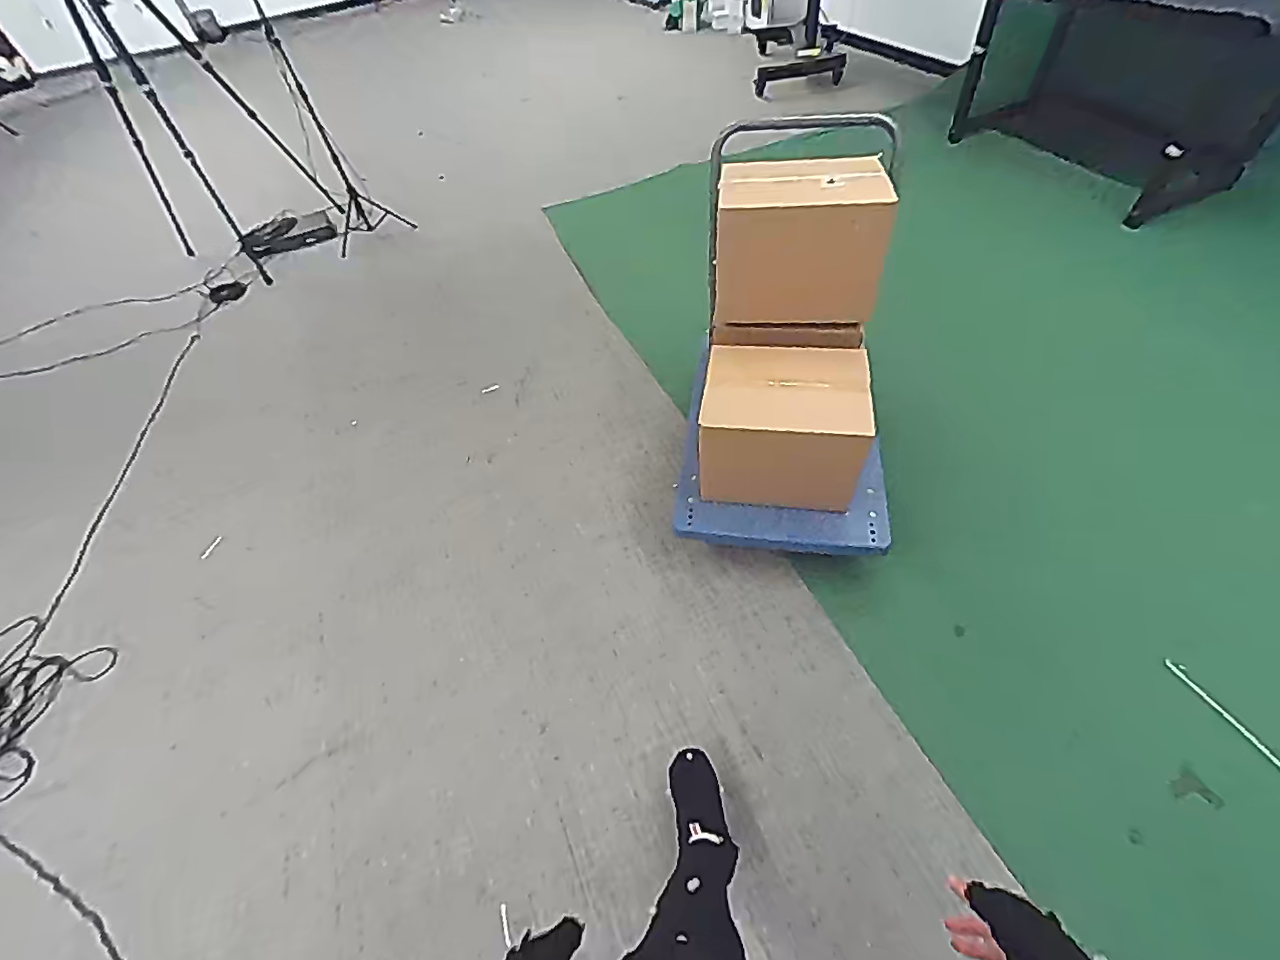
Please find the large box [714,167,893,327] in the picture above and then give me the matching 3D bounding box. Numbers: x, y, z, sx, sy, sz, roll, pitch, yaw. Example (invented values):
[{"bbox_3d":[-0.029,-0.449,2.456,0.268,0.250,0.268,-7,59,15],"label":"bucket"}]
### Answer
[{"bbox_3d":[0.407,-0.623,1.460,0.408,0.320,0.320,3,47,9],"label":"large box"}]
